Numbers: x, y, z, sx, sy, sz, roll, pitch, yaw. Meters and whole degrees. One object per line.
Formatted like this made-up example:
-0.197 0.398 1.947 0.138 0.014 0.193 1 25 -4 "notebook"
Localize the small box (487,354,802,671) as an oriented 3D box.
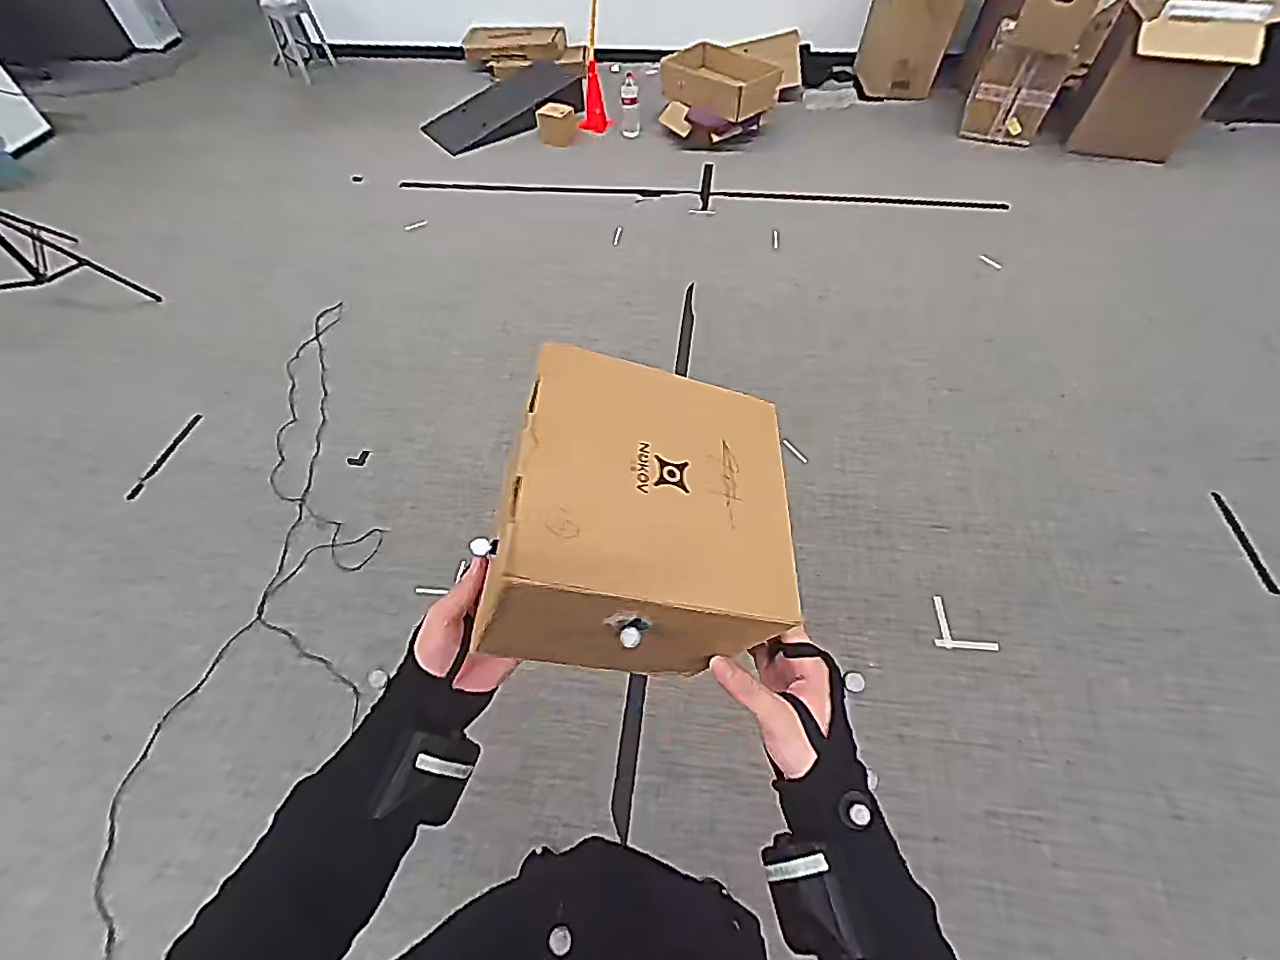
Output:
-0.008 0.040 0.410 0.179 0.176 0.168 13 57 -19 "small box"
